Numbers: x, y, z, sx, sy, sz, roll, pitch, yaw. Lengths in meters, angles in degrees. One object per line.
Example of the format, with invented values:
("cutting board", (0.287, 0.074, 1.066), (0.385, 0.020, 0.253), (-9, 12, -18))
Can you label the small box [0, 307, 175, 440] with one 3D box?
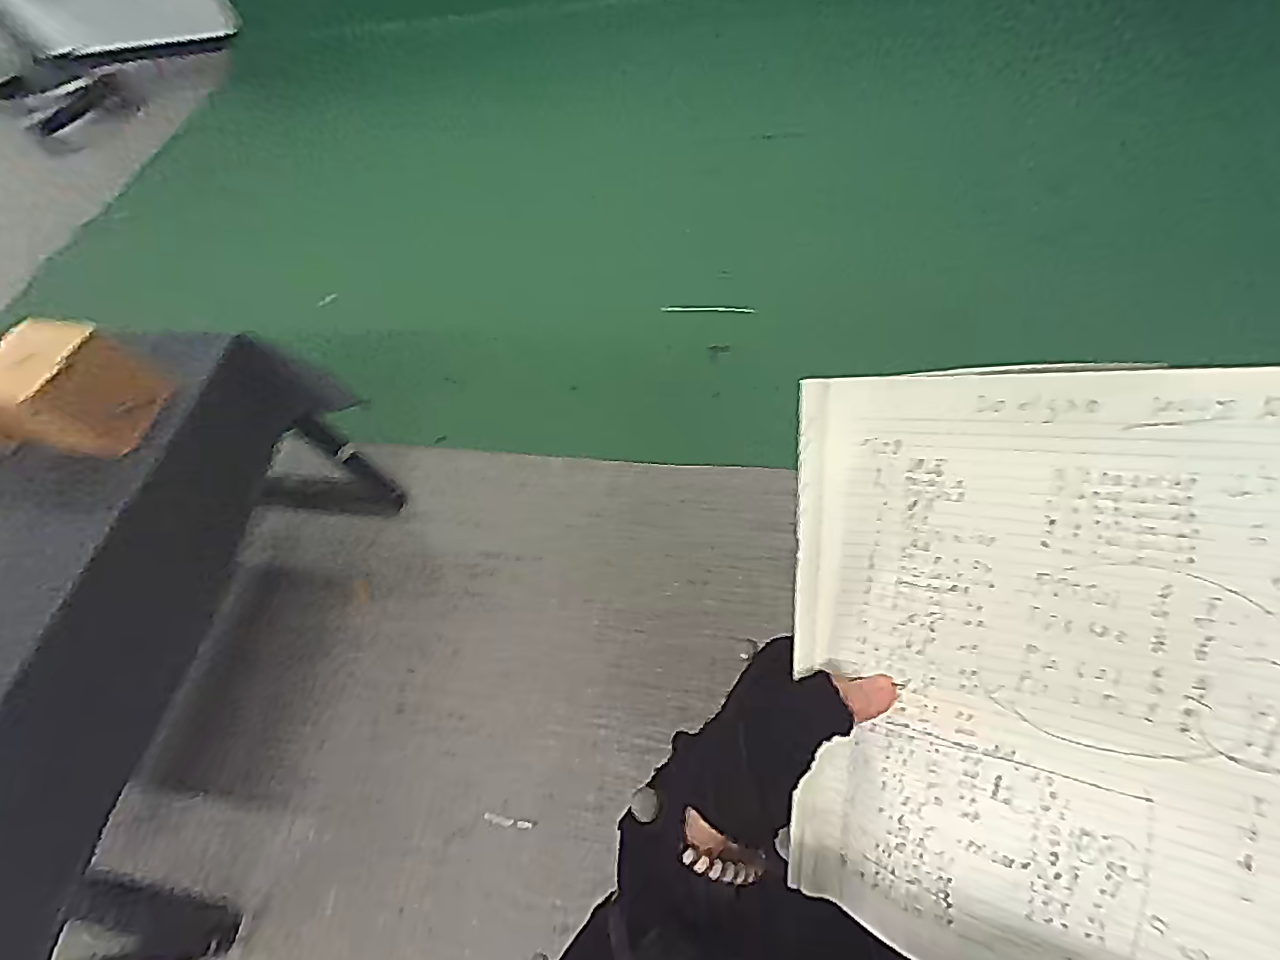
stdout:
("small box", (-1.021, -0.188, 0.978), (0.179, 0.176, 0.168), (7, 63, 12))
